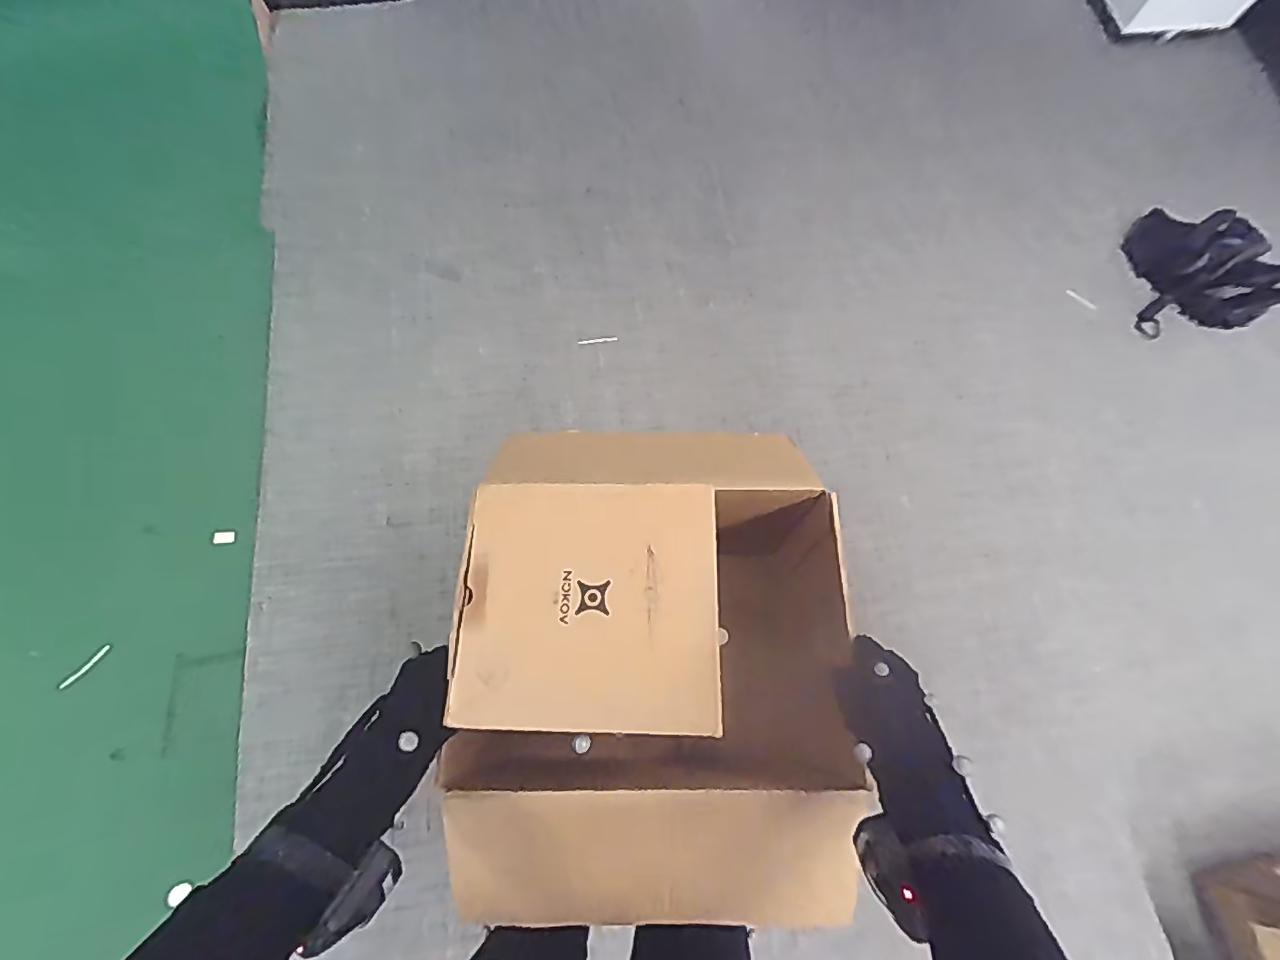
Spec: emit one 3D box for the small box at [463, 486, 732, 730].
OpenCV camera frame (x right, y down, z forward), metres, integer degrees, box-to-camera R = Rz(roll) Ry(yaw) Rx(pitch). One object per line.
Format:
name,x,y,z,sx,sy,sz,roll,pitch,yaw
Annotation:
small box,-0.024,0.111,0.445,0.179,0.176,0.168,-1,69,2
